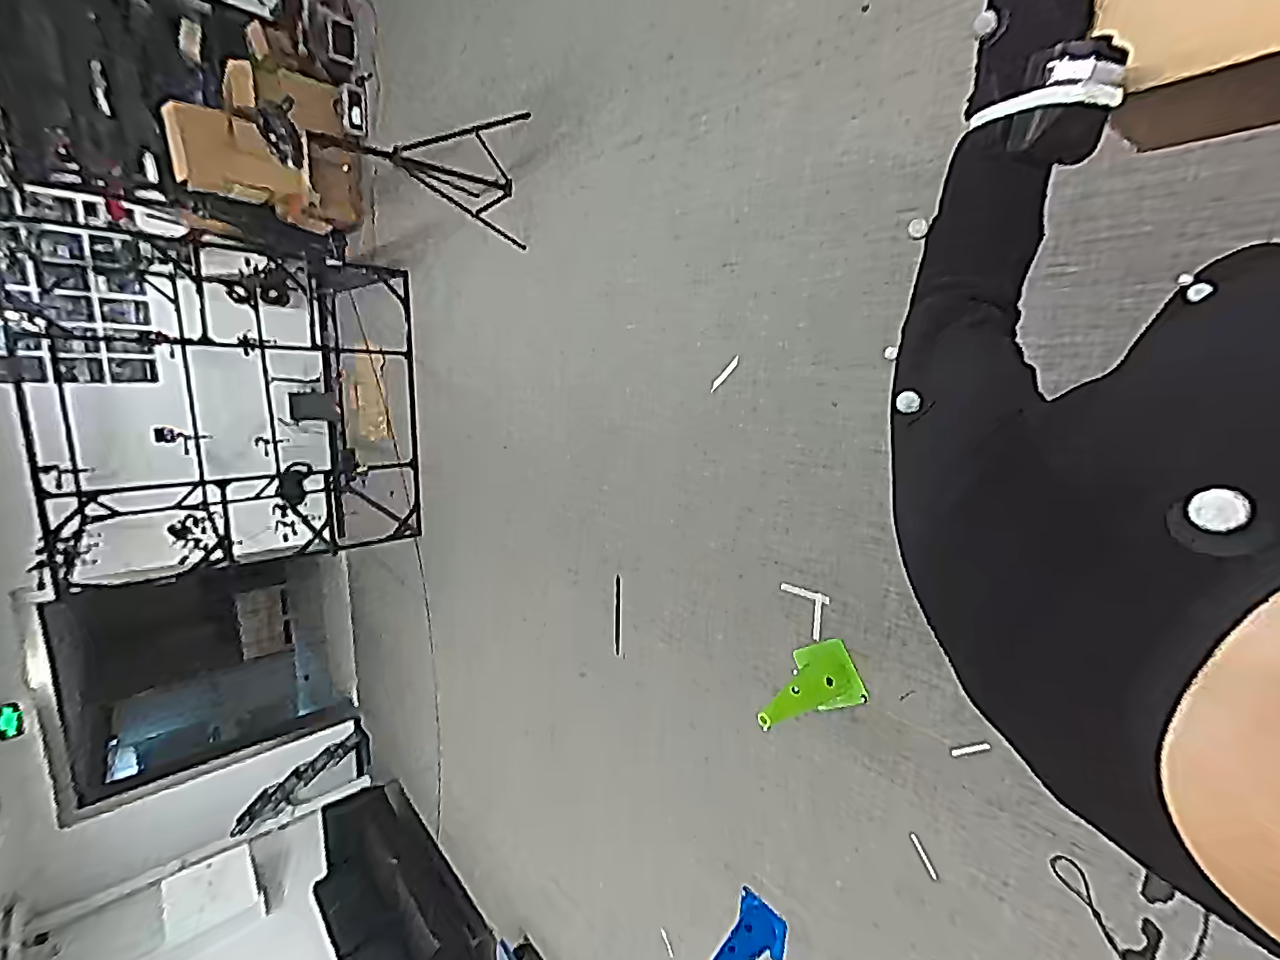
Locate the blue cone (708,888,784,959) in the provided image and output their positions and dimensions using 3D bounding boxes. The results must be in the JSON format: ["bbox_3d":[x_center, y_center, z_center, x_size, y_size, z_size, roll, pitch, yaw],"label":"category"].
[{"bbox_3d":[0.337,1.703,1.946,0.192,0.380,0.193,19,110,46],"label":"blue cone"}]

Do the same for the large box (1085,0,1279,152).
[{"bbox_3d":[0.537,-0.430,0.299,0.408,0.320,0.320,10,114,45],"label":"large box"}]

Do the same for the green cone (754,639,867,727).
[{"bbox_3d":[0.465,0.634,1.597,0.202,0.368,0.200,-41,66,45],"label":"green cone"}]
